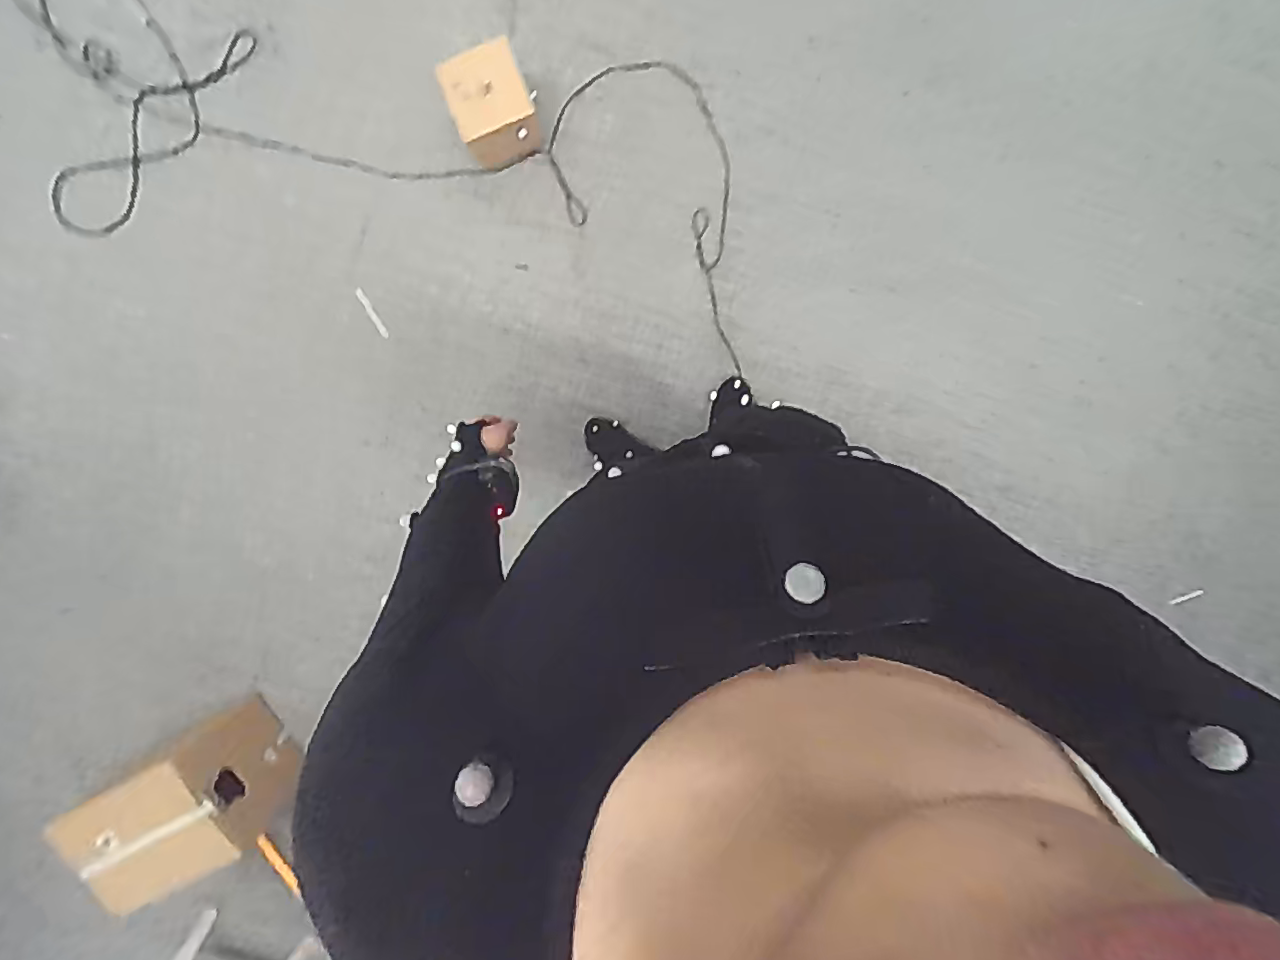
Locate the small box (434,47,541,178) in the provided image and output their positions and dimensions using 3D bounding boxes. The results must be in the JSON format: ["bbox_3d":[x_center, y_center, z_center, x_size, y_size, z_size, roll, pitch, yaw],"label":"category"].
[{"bbox_3d":[-0.344,-0.849,1.265,0.179,0.176,0.168,-21,98,4],"label":"small box"}]
